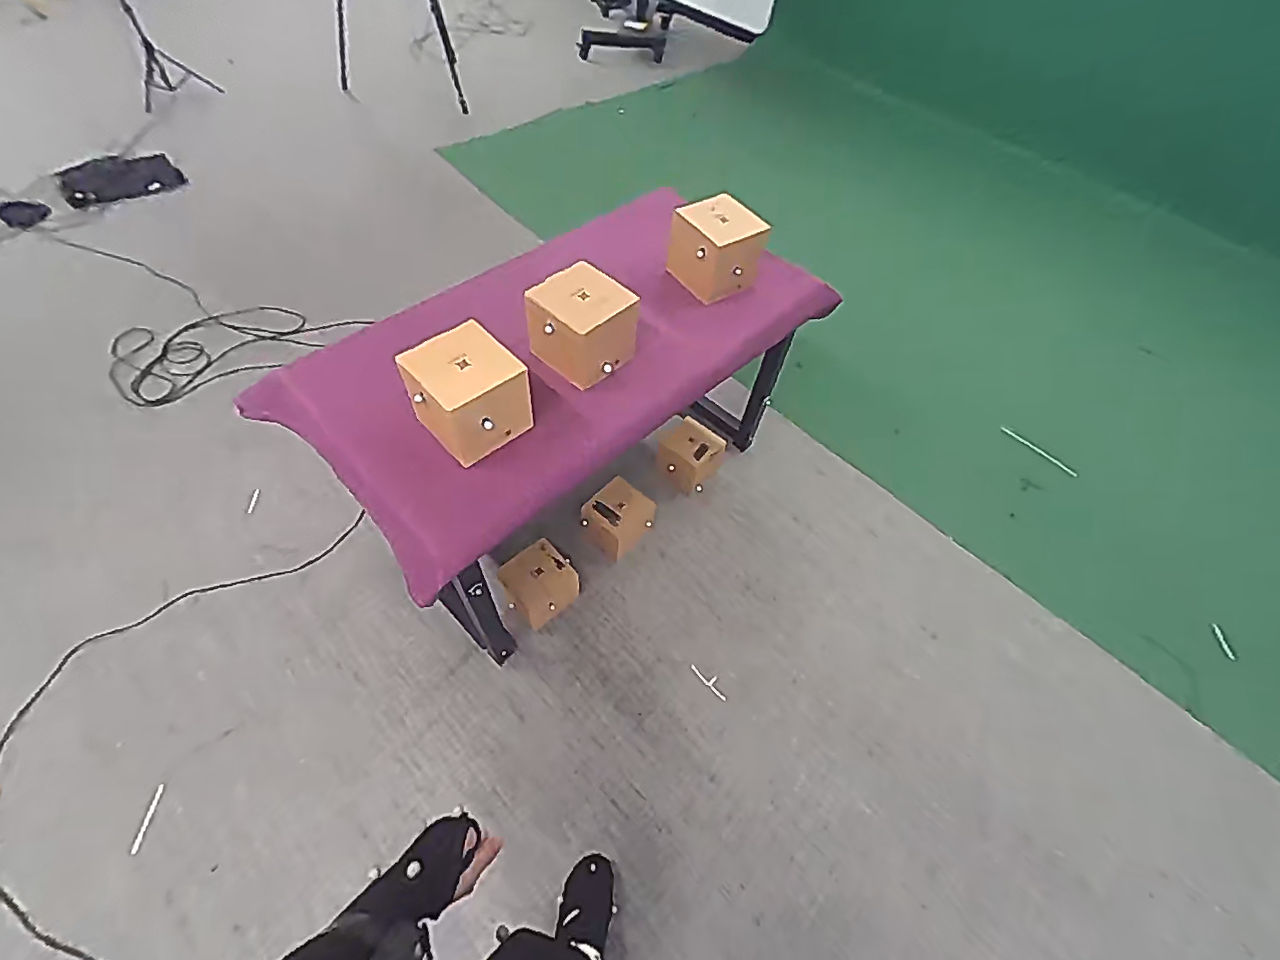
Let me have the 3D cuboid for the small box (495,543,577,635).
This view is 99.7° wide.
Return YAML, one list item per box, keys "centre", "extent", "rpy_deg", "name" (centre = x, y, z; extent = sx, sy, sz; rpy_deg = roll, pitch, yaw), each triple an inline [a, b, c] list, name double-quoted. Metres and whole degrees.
- centre: [-0.297, 0.325, 1.588]
  extent: [0.179, 0.176, 0.168]
  rpy_deg: [-35, 64, -25]
  name: "small box"

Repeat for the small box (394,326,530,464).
- centre: [-0.329, -0.154, 1.034]
  extent: [0.168, 0.176, 0.179]
  rpy_deg: [-37, 65, -26]
  name: "small box"

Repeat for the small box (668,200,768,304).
- centre: [0.189, -0.567, 1.364]
  extent: [0.168, 0.176, 0.179]
  rpy_deg: [-28, 62, -22]
  name: "small box"

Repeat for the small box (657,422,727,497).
- centre: [0.177, -0.065, 1.900]
  extent: [0.179, 0.176, 0.168]
  rpy_deg: [38, 60, 21]
  name: "small box"

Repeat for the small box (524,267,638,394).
- centre: [-0.126, -0.319, 1.167]
  extent: [0.179, 0.176, 0.168]
  rpy_deg: [40, 62, 20]
  name: "small box"
